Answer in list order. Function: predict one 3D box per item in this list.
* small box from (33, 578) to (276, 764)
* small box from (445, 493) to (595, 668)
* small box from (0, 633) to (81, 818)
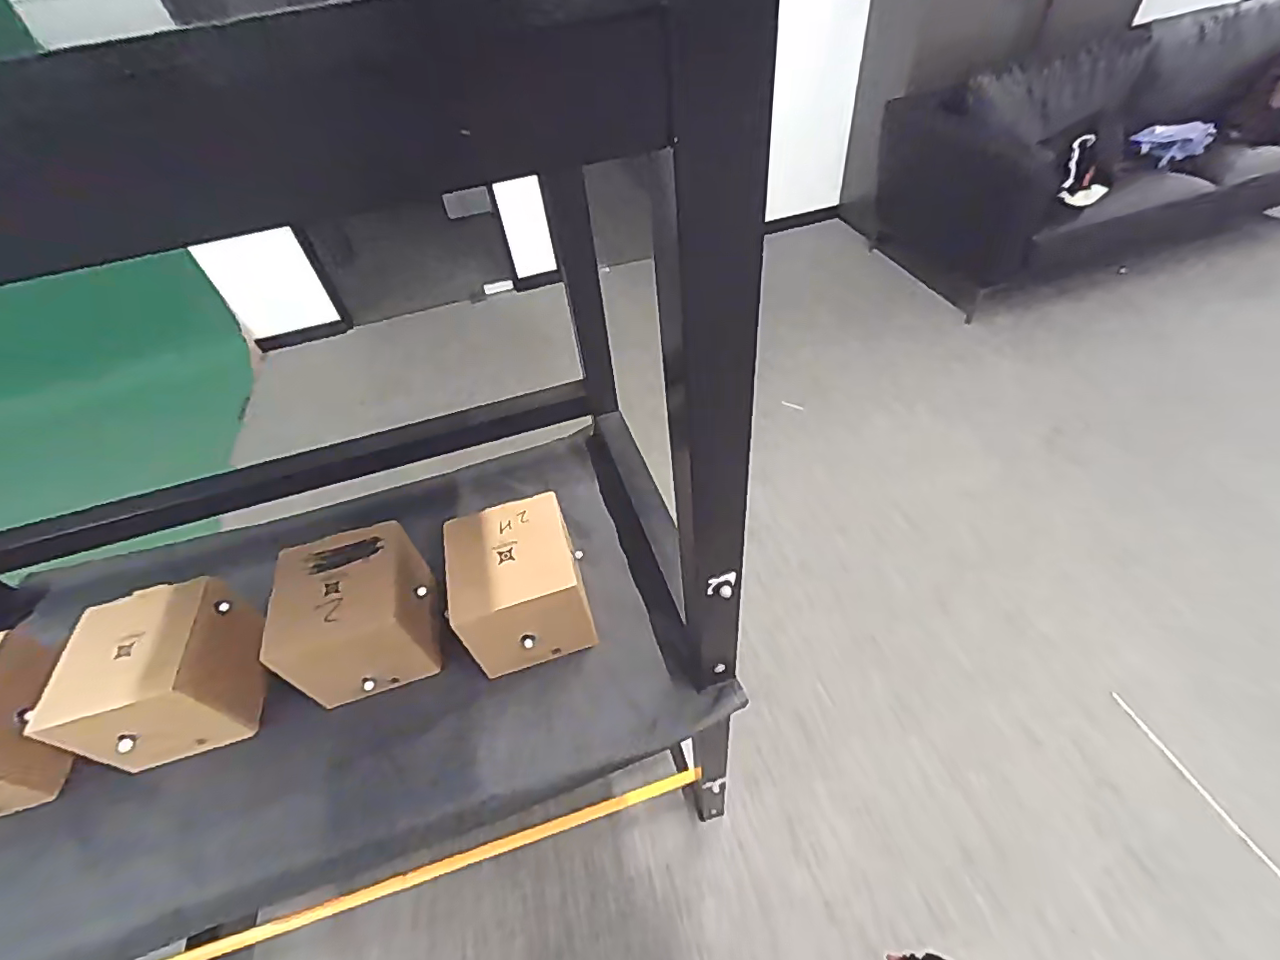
[{"bbox_3d":[-0.647,0.272,0.754,0.168,0.176,0.179,-15,47,-7],"label":"small box"},{"bbox_3d":[-0.173,0.155,0.794,0.168,0.176,0.179,-16,47,-7],"label":"small box"},{"bbox_3d":[-0.889,0.339,0.720,0.168,0.176,0.179,-15,48,-7],"label":"small box"}]
